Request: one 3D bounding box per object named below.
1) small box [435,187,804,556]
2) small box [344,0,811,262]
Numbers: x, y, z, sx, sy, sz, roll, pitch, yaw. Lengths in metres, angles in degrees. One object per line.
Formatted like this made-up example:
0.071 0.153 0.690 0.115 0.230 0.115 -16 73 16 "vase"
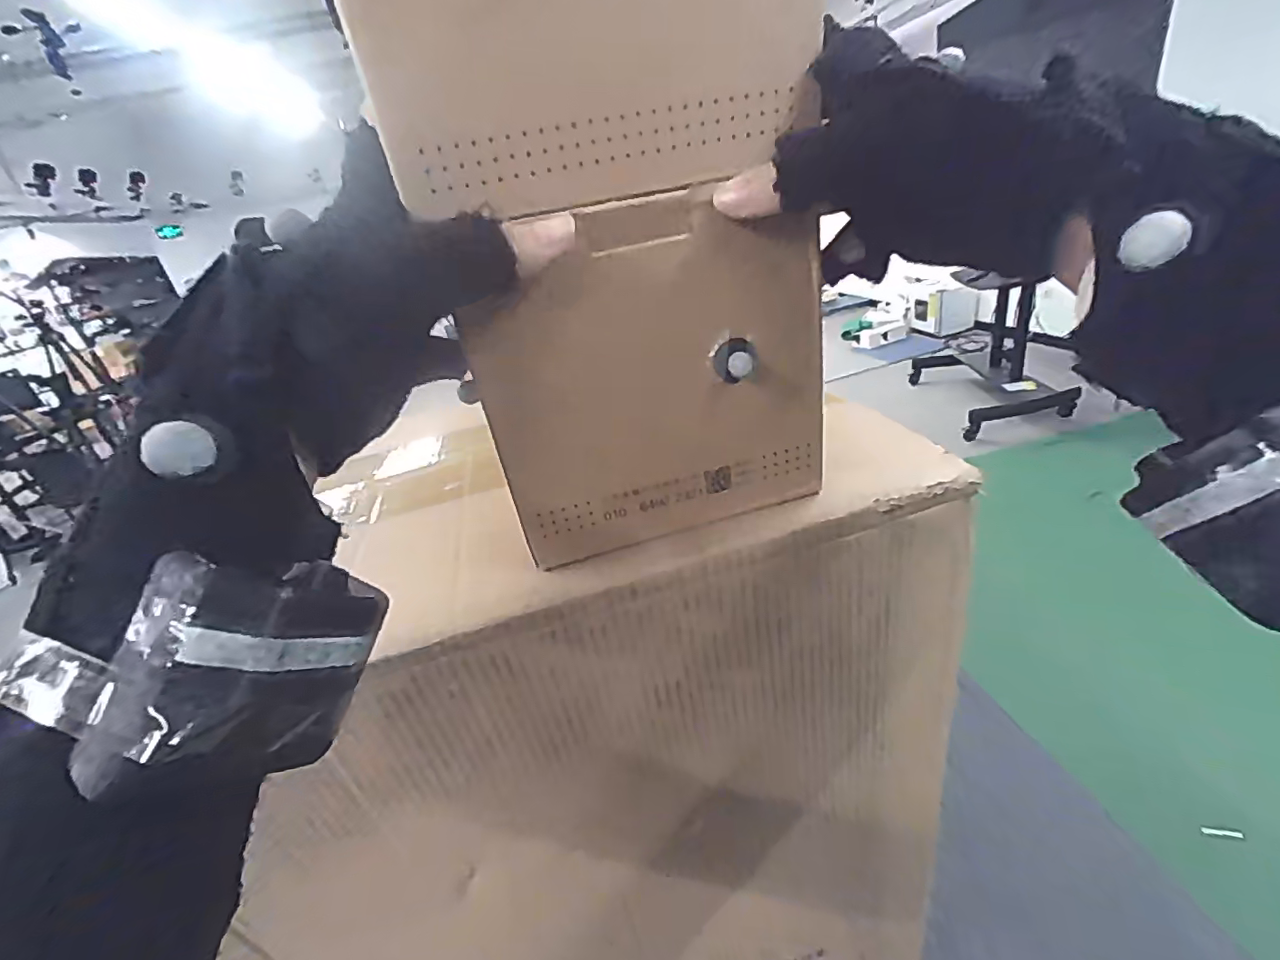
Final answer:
-0.009 -0.070 0.335 0.168 0.176 0.179 -14 28 -7 "small box"
-0.034 -0.211 0.255 0.179 0.176 0.168 -14 30 -11 "small box"
